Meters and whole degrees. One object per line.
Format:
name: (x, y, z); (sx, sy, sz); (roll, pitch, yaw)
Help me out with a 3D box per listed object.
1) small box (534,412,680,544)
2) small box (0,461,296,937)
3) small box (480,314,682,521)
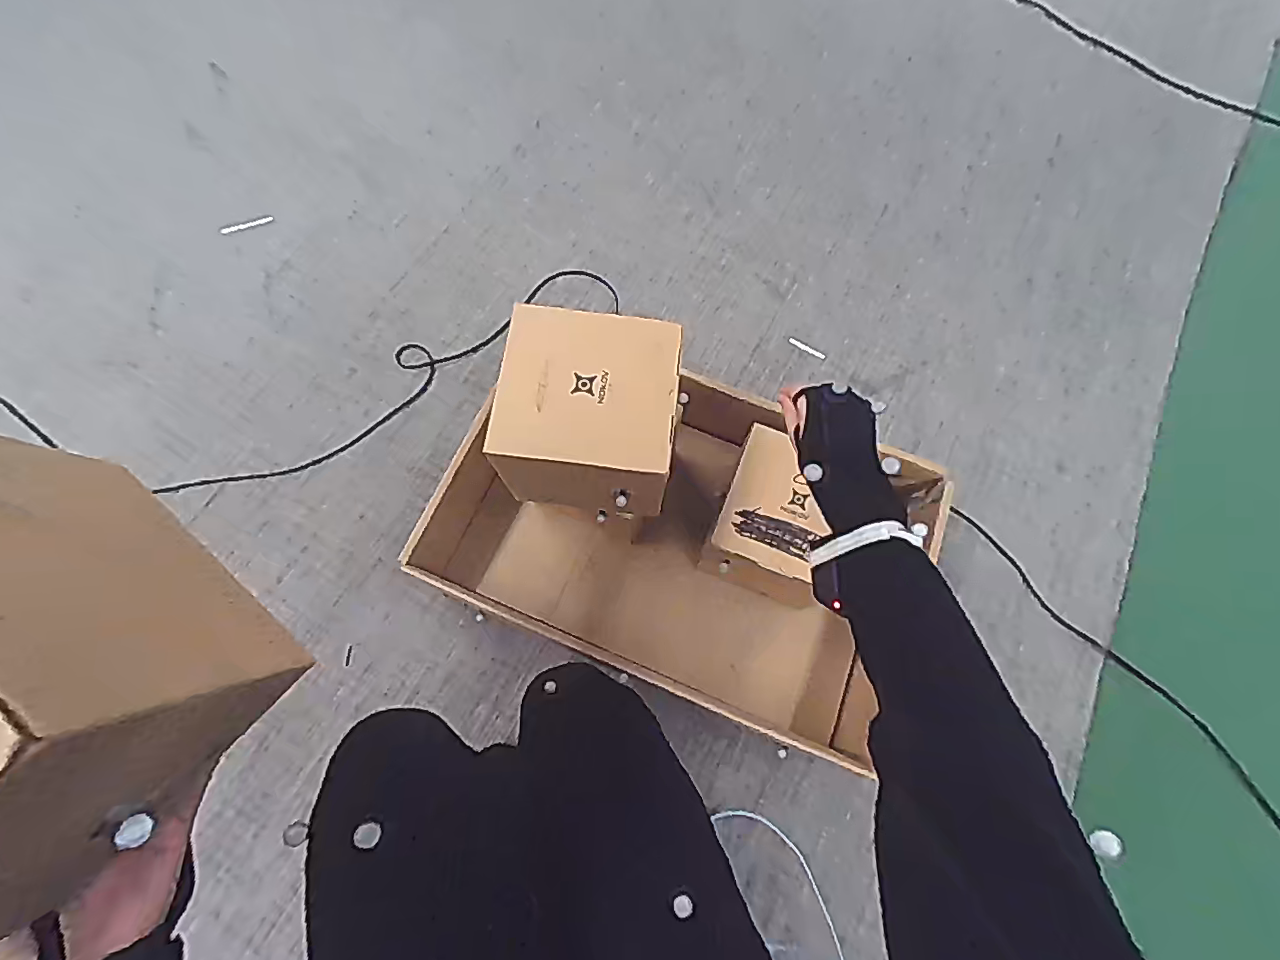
small box: (-0.063, -0.024, 0.762); (0.179, 0.176, 0.168); (24, 73, 4)
small box: (-0.310, 0.100, 0.237); (0.179, 0.176, 0.168); (43, 80, 3)
small box: (-0.056, -0.057, 0.602); (0.179, 0.176, 0.168); (7, 72, 1)
